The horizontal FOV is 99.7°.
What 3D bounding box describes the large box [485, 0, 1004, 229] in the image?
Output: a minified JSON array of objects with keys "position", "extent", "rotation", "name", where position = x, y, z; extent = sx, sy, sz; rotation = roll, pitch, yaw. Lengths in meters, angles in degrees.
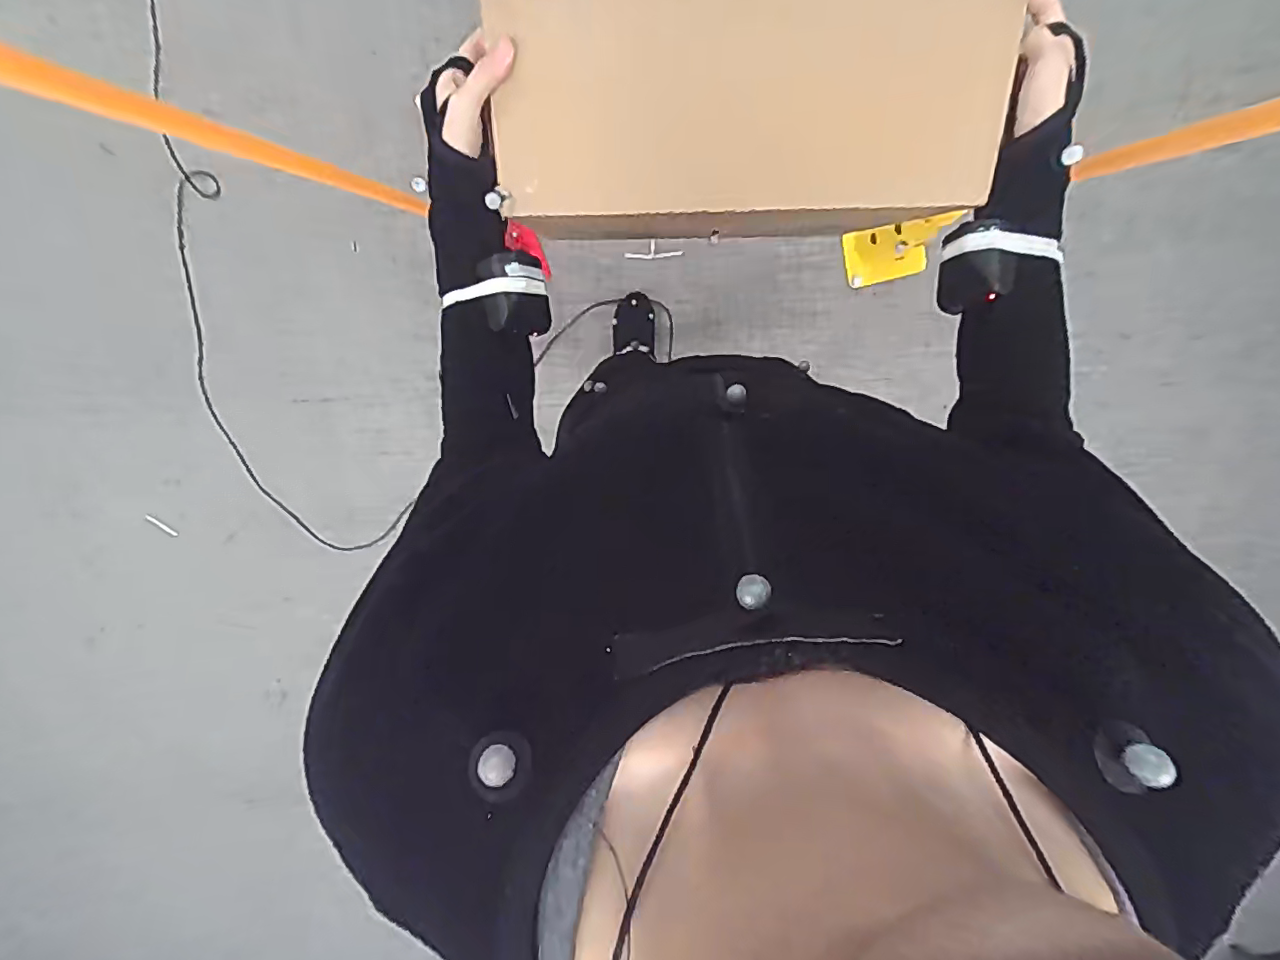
[{"position":[0.080,-0.434,0.542],"extent":[0.408,0.320,0.320],"rotation":[-1,110,0],"name":"large box"}]
